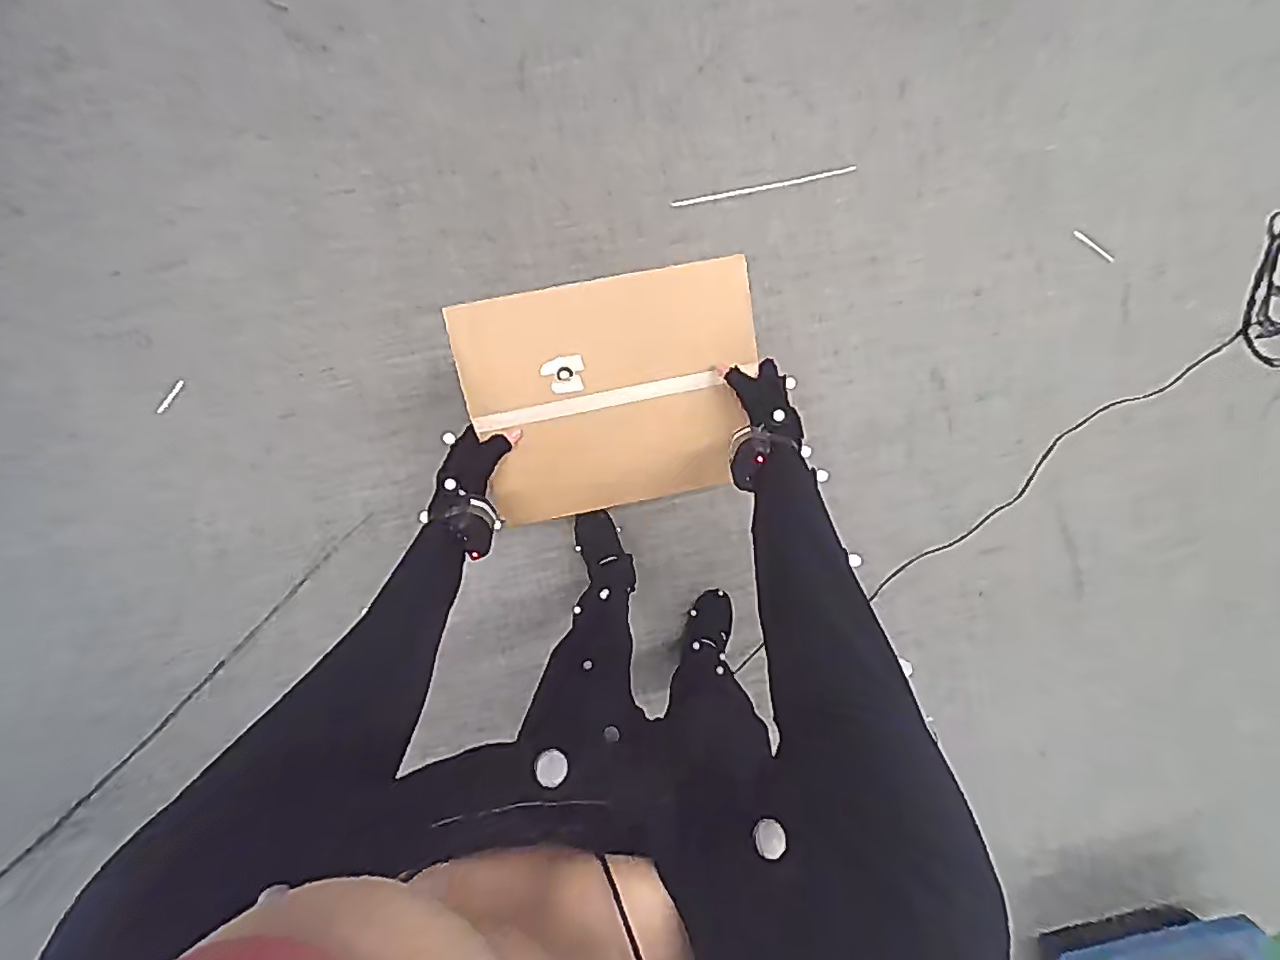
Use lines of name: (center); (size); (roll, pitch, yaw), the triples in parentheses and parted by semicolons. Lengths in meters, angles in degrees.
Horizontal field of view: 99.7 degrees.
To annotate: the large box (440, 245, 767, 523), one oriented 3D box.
large box: (-0.048, -0.164, 0.875); (0.408, 0.320, 0.320); (-11, 107, -2)
